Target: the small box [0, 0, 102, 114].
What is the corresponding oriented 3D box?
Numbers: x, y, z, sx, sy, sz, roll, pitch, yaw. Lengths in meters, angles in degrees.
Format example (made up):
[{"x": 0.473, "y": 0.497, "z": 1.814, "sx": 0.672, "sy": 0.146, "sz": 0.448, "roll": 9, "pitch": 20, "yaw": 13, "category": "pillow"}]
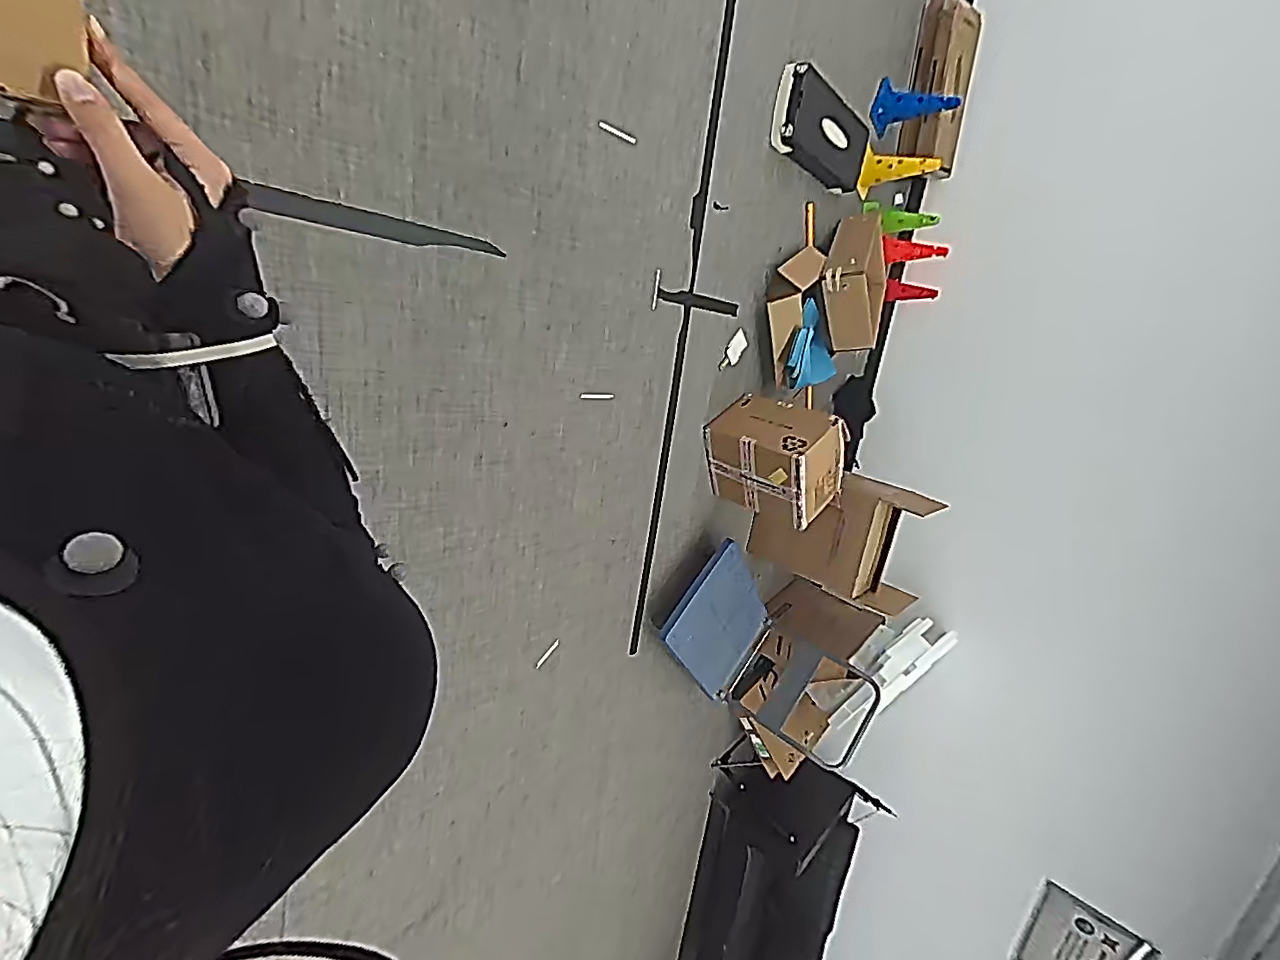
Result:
[{"x": -0.375, "y": -0.302, "z": 0.252, "sx": 0.168, "sy": 0.176, "sz": 0.179, "roll": -4, "pitch": 117, "yaw": -45, "category": "small box"}]
